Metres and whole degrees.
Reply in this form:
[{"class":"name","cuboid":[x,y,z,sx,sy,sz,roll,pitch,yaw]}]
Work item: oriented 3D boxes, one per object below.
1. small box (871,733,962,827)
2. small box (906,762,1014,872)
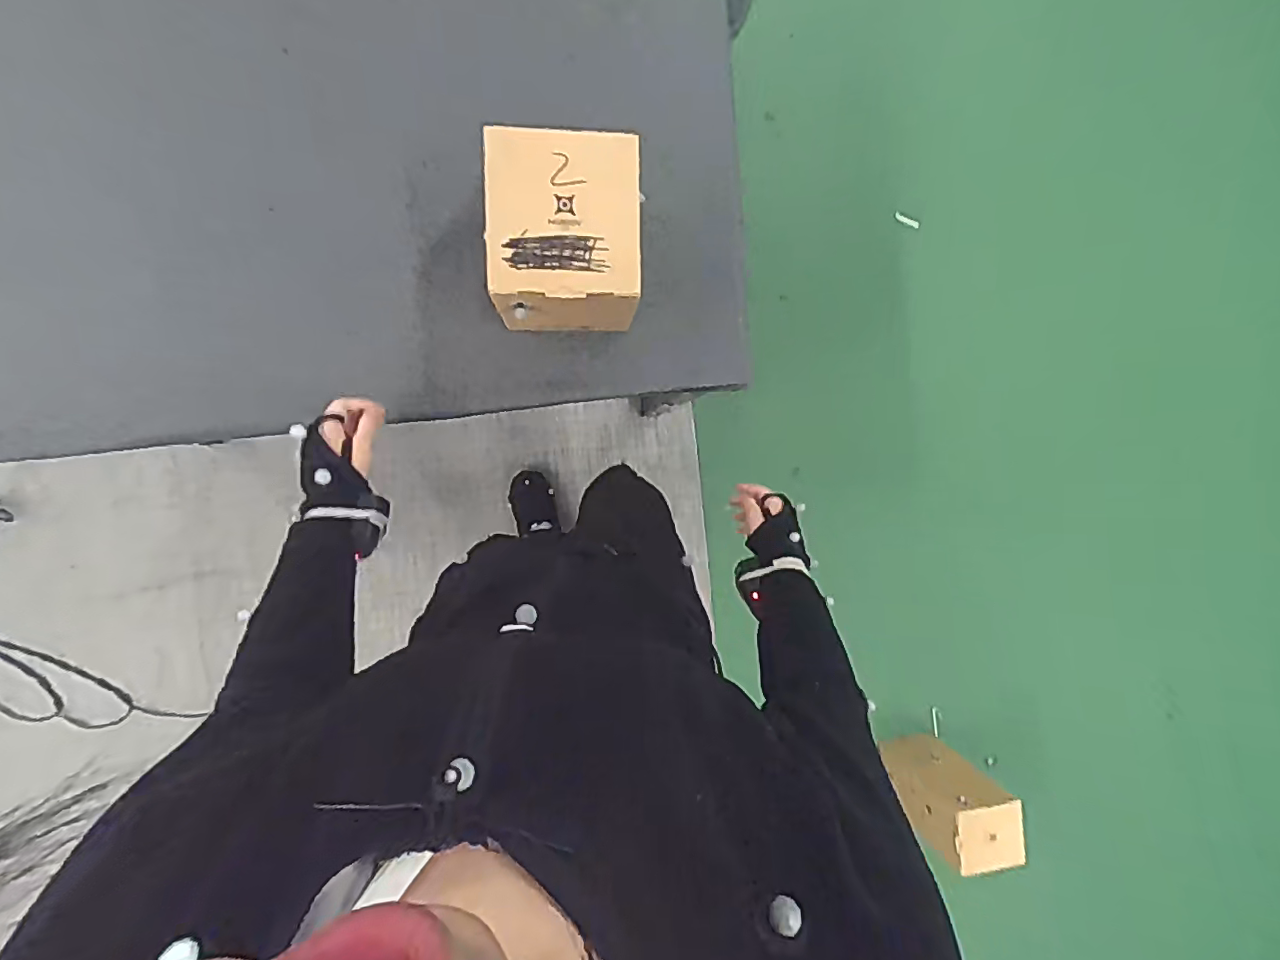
[{"class":"small box","cuboid":[0.803,0.861,1.572,0.179,0.176,0.168,-6,93,-9]},{"class":"small box","cuboid":[0.830,0.869,1.412,0.179,0.176,0.168,-7,94,-8]}]
